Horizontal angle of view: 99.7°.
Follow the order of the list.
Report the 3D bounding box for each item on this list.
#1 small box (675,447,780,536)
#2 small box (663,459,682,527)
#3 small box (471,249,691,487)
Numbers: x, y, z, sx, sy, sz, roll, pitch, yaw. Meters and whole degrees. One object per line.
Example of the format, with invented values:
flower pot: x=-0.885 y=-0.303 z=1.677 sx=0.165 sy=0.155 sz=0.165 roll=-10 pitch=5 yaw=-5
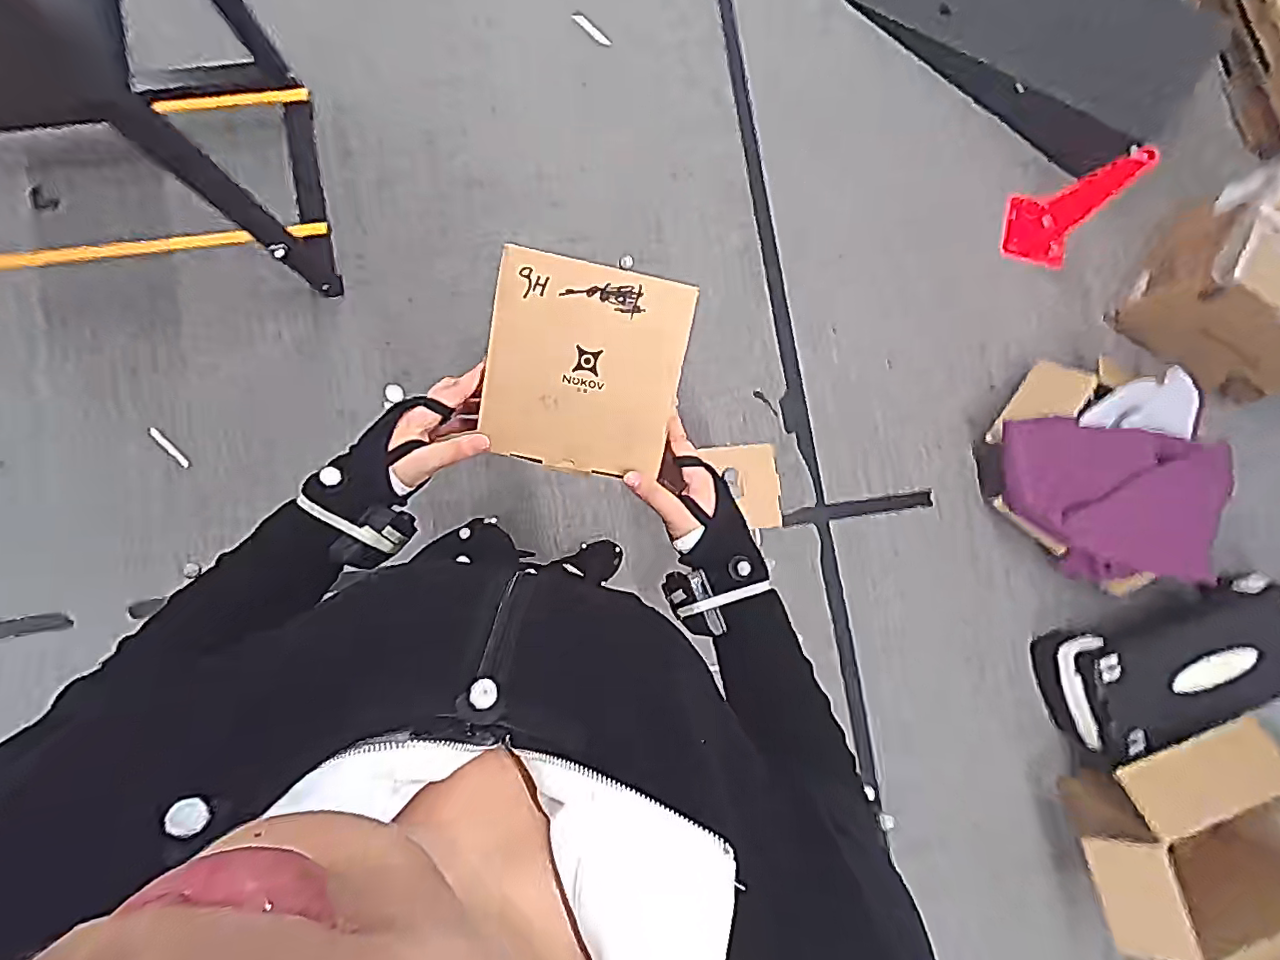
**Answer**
small box: x=0.175 y=0.025 z=1.125 sx=0.179 sy=0.176 sz=0.168 roll=-5 pitch=86 yaw=-4
small box: x=0.157 y=0.035 z=1.452 sx=0.168 sy=0.176 sz=0.179 roll=-5 pitch=88 yaw=-4
small box: x=-0.056 y=-0.110 z=0.538 sx=0.168 sy=0.176 sz=0.179 roll=10 pitch=104 yaw=-6
